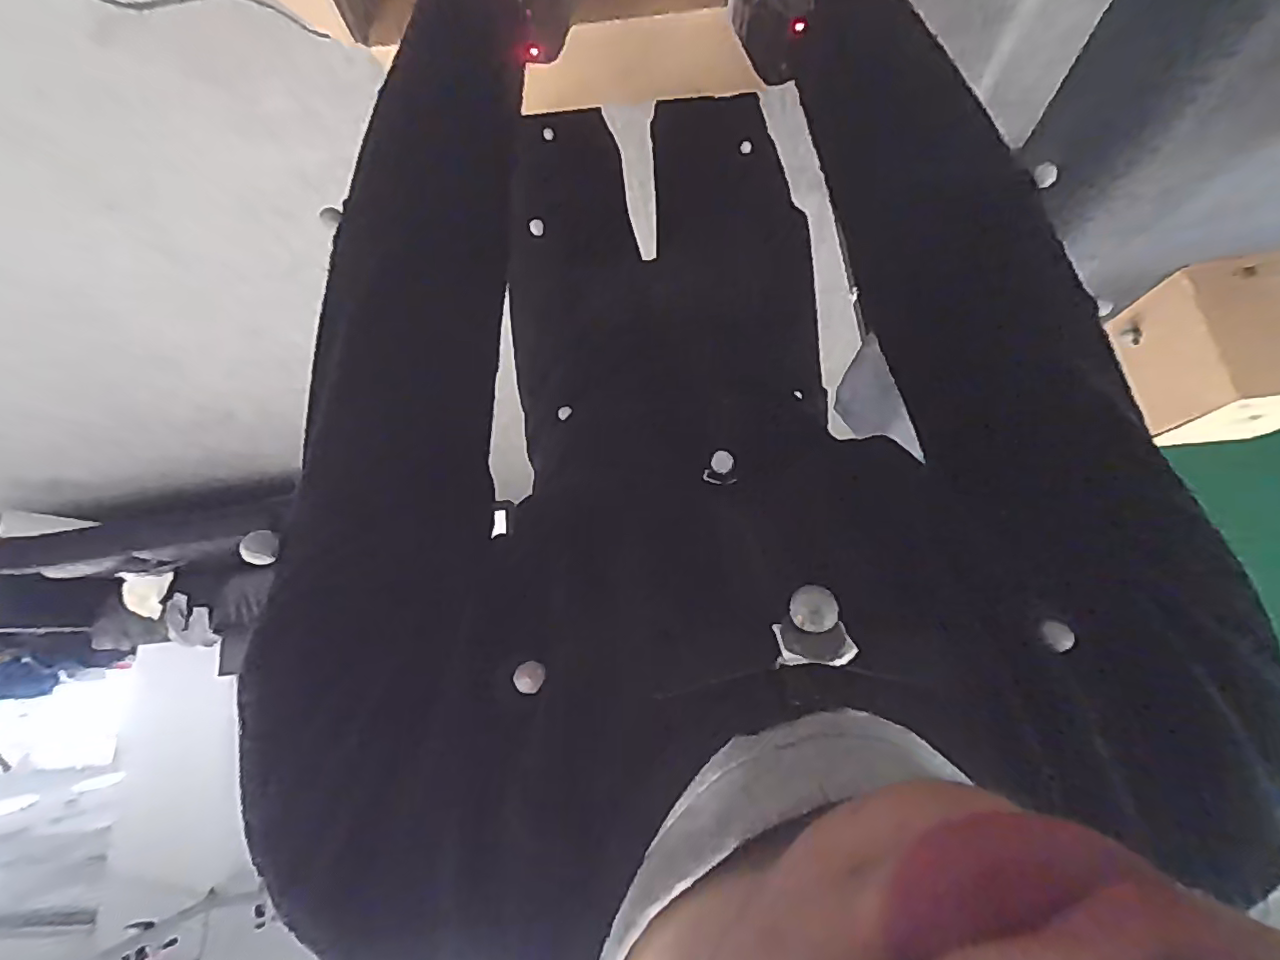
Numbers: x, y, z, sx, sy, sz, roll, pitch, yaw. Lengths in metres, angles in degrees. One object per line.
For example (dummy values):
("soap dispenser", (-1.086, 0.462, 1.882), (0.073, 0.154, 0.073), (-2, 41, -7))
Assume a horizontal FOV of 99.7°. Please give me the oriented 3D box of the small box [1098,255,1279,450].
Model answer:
("small box", (0.704, -0.147, 0.652), (0.168, 0.176, 0.179), (-7, 165, 5))
